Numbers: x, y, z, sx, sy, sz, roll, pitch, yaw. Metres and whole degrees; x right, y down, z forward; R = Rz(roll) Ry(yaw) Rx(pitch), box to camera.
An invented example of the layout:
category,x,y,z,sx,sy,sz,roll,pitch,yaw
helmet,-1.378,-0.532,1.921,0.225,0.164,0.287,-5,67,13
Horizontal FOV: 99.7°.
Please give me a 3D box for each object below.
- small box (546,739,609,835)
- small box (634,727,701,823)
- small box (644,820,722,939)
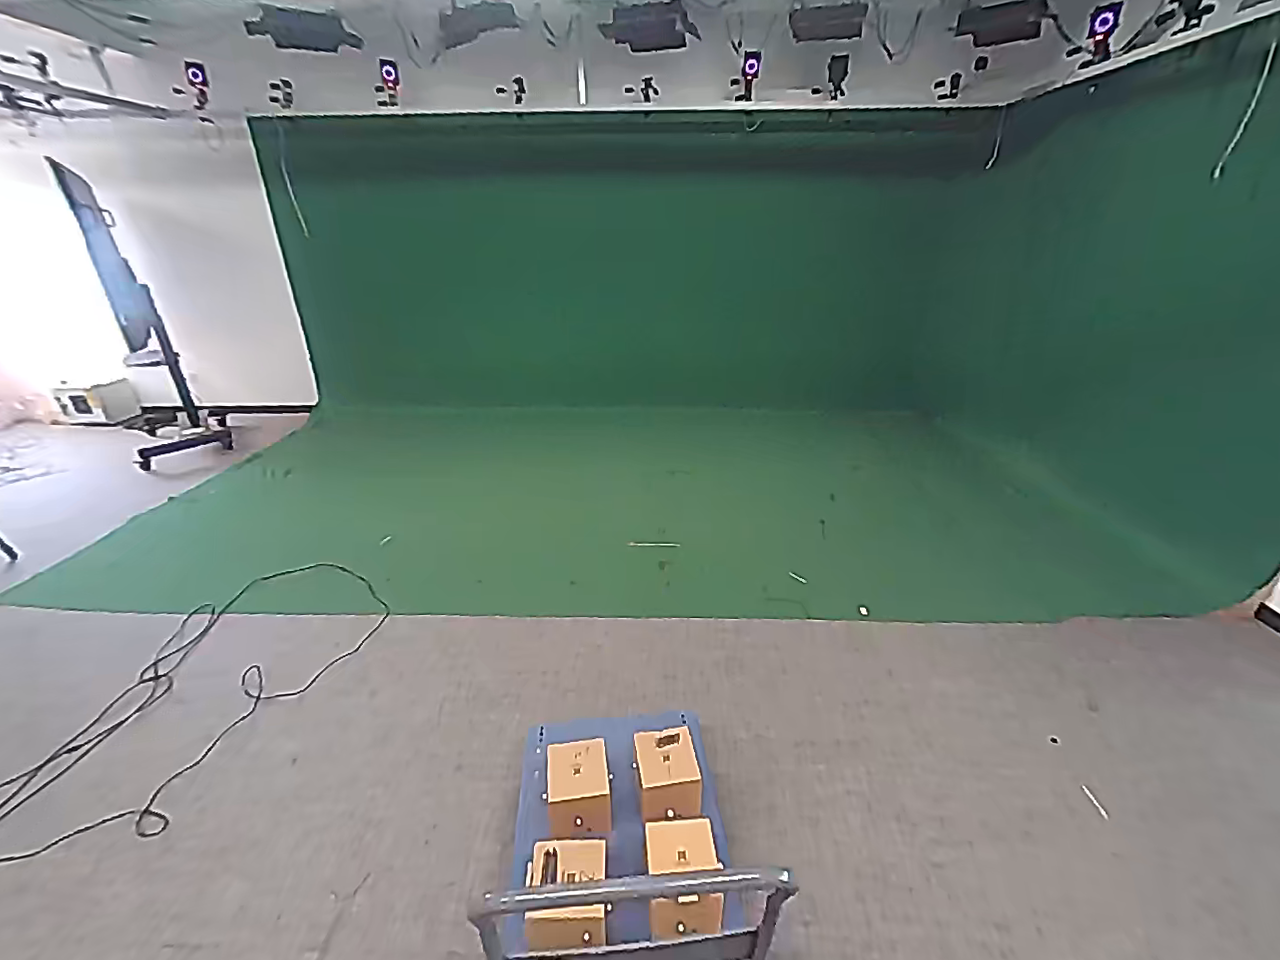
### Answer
category,x,y,z,sx,sy,sz,roll,pitch,yaw
small box,-0.175,0.869,1.526,0.168,0.176,0.179,-3,26,-8
small box,0.074,0.851,1.562,0.168,0.176,0.179,-5,27,-7
small box,0.098,0.971,1.321,0.168,0.176,0.179,-2,26,-4
